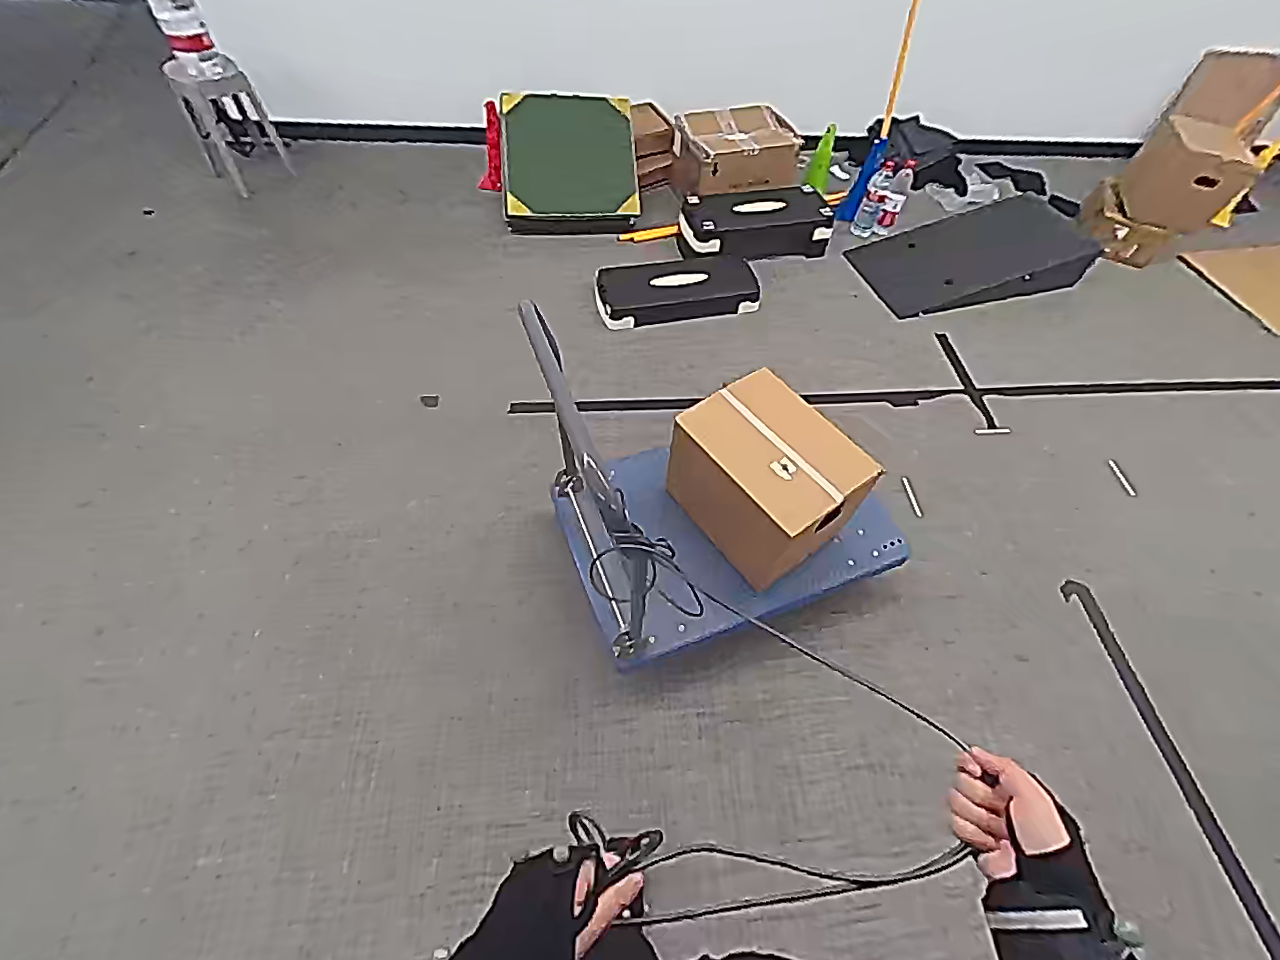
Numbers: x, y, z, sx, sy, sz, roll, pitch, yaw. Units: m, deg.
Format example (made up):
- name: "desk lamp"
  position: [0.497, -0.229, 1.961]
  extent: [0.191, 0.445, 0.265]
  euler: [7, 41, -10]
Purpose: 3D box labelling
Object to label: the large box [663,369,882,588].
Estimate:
- name: "large box"
  position: [0.311, -0.005, 1.392]
  extent: [0.320, 0.320, 0.408]
  euler: [-32, 64, -21]
